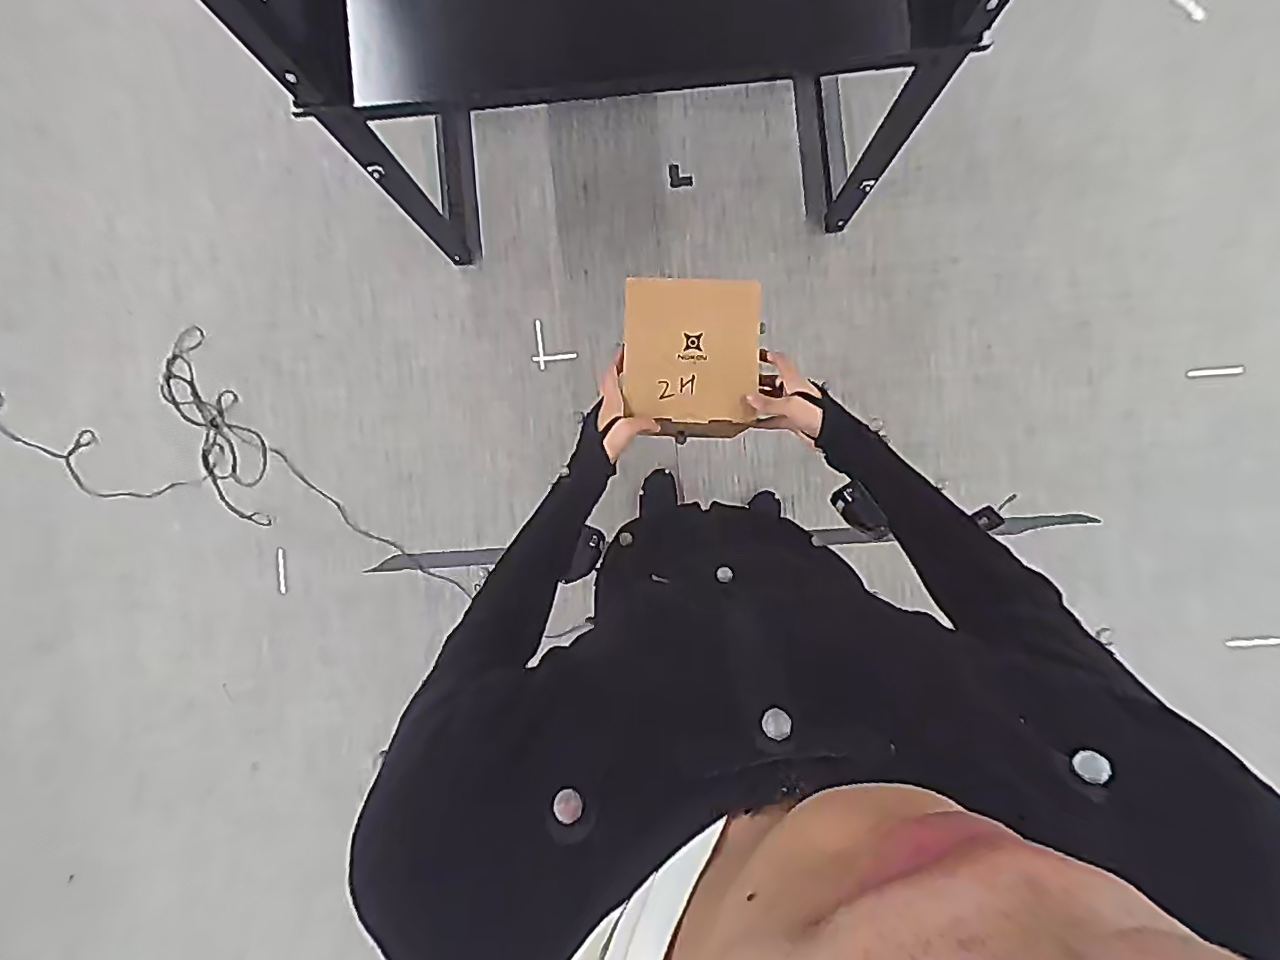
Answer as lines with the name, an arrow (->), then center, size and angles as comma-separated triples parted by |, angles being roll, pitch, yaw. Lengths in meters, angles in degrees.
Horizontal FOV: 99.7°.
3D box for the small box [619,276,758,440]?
small box -> 0.057, -0.153, 0.728 | 0.168, 0.176, 0.179 | 2, 88, 0
